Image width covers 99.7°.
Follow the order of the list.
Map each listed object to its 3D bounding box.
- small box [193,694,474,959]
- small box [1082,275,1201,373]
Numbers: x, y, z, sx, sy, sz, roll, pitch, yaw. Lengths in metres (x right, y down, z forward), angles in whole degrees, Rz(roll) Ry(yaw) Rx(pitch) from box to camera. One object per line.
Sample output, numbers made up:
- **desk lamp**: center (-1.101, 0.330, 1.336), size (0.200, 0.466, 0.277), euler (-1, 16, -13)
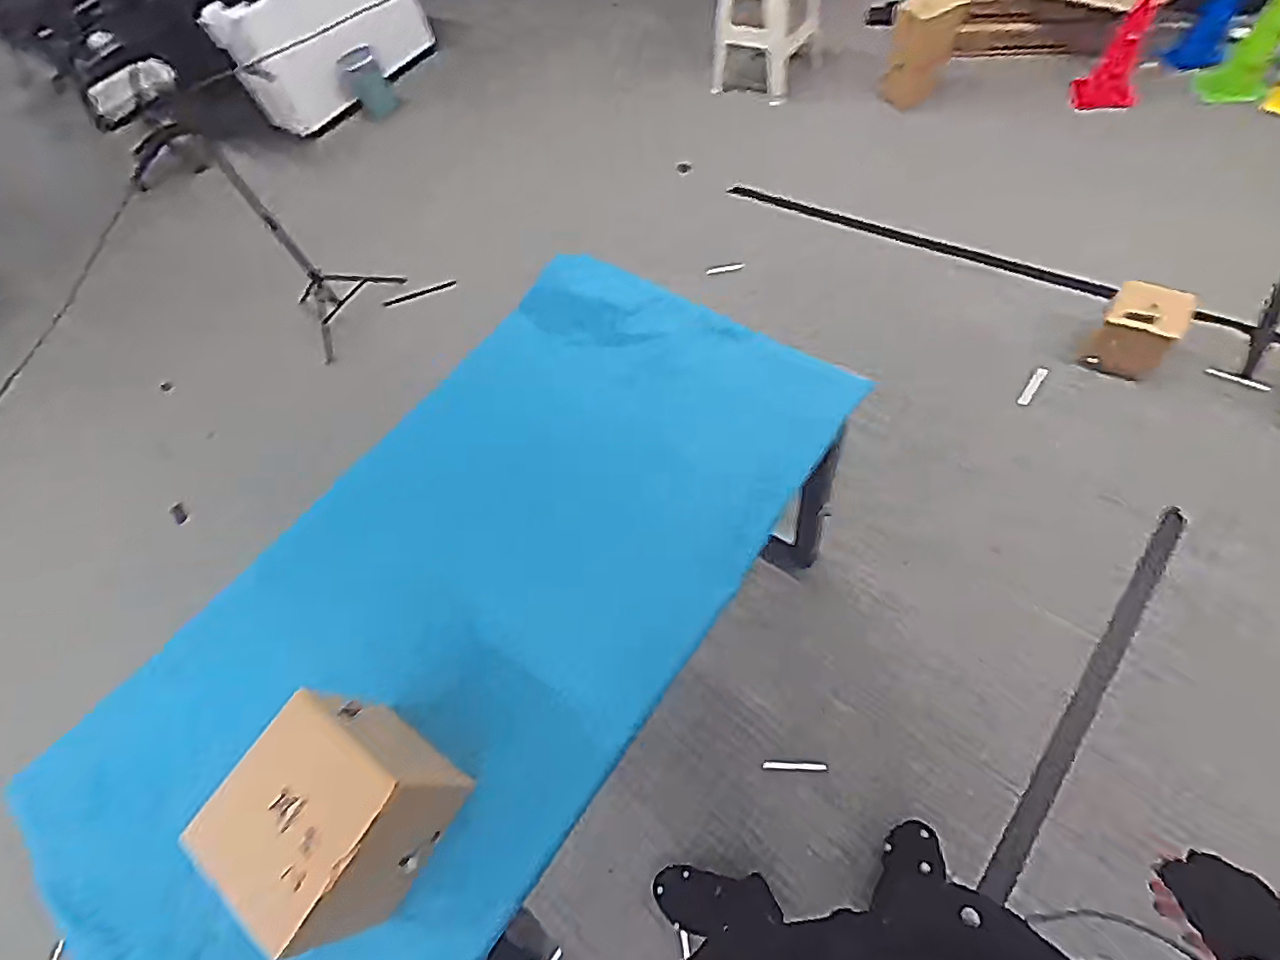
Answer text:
- **small box**: center (-0.328, 0.373, 0.609), size (0.179, 0.176, 0.168), euler (30, 72, 23)
- **small box**: center (1.378, -0.428, 1.499), size (0.168, 0.176, 0.179), euler (30, 71, 26)
